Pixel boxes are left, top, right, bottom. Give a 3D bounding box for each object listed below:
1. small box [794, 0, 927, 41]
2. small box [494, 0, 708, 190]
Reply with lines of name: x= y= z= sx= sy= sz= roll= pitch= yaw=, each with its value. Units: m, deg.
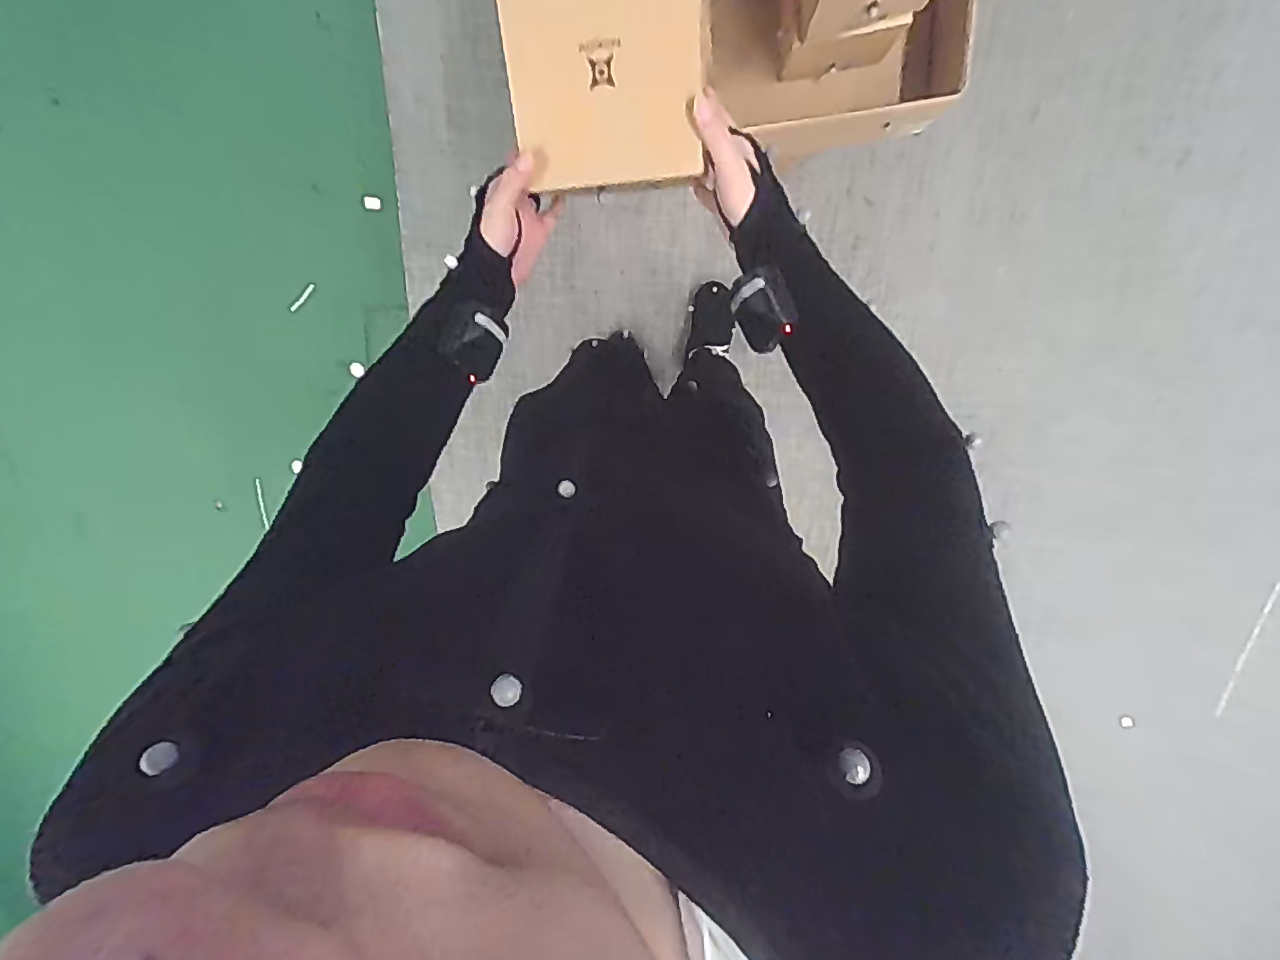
small box: x=0.281 y=-0.677 z=0.659 sx=0.168 sy=0.176 sz=0.179 roll=-9 pitch=109 yaw=11
small box: x=-0.022 y=-0.378 z=0.510 sx=0.168 sy=0.176 sz=0.179 roll=-1 pitch=115 yaw=9
